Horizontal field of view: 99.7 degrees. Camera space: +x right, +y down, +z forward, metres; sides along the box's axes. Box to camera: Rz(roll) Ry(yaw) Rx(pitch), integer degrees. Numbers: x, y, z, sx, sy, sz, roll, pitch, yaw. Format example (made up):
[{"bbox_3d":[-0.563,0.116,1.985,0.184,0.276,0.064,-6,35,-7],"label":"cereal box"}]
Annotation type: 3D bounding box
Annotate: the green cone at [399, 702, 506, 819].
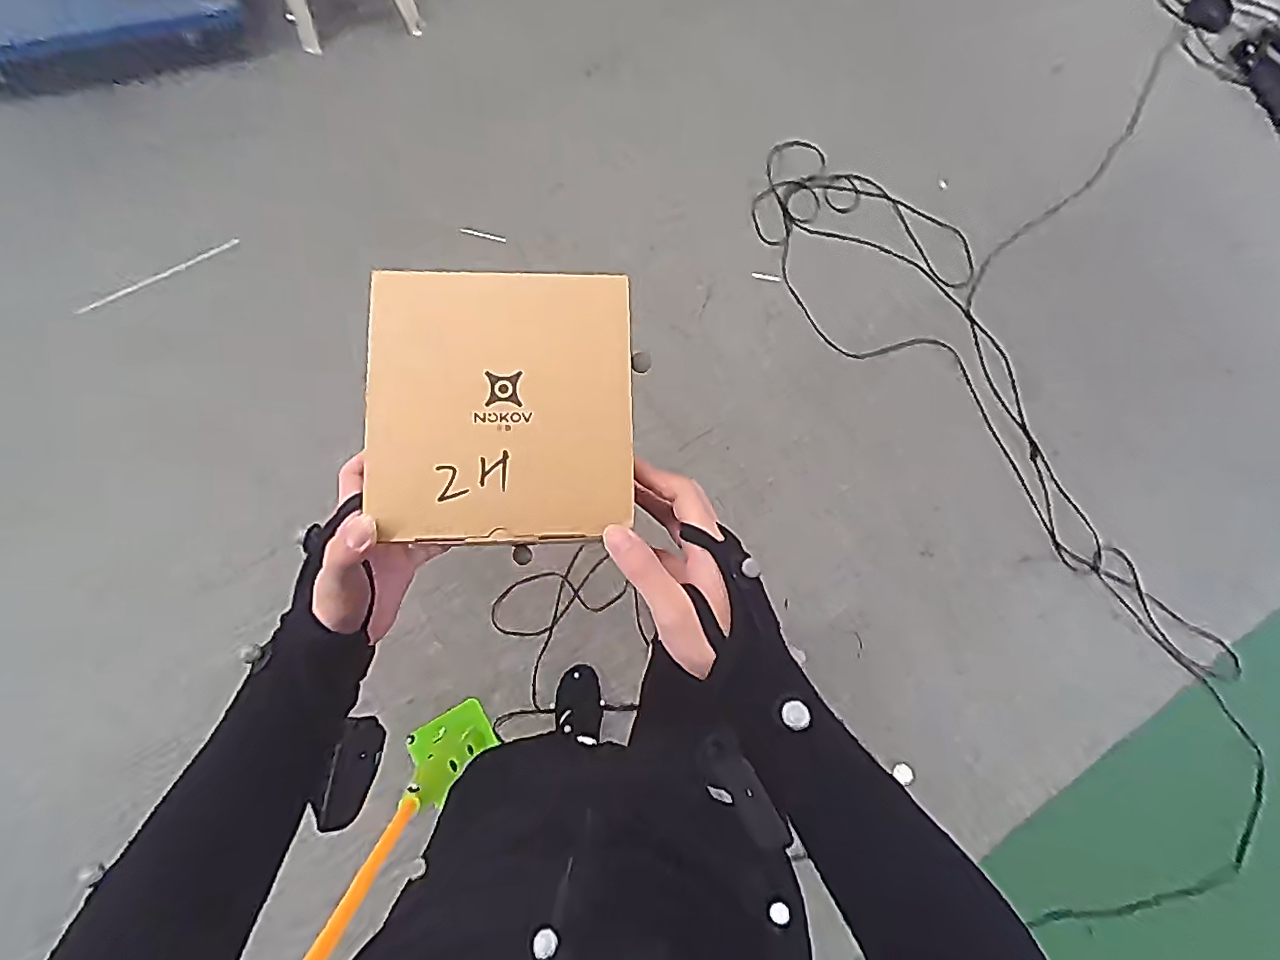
[{"bbox_3d":[-0.439,0.641,1.156,0.202,0.368,0.200,-29,82,-11],"label":"green cone"}]
